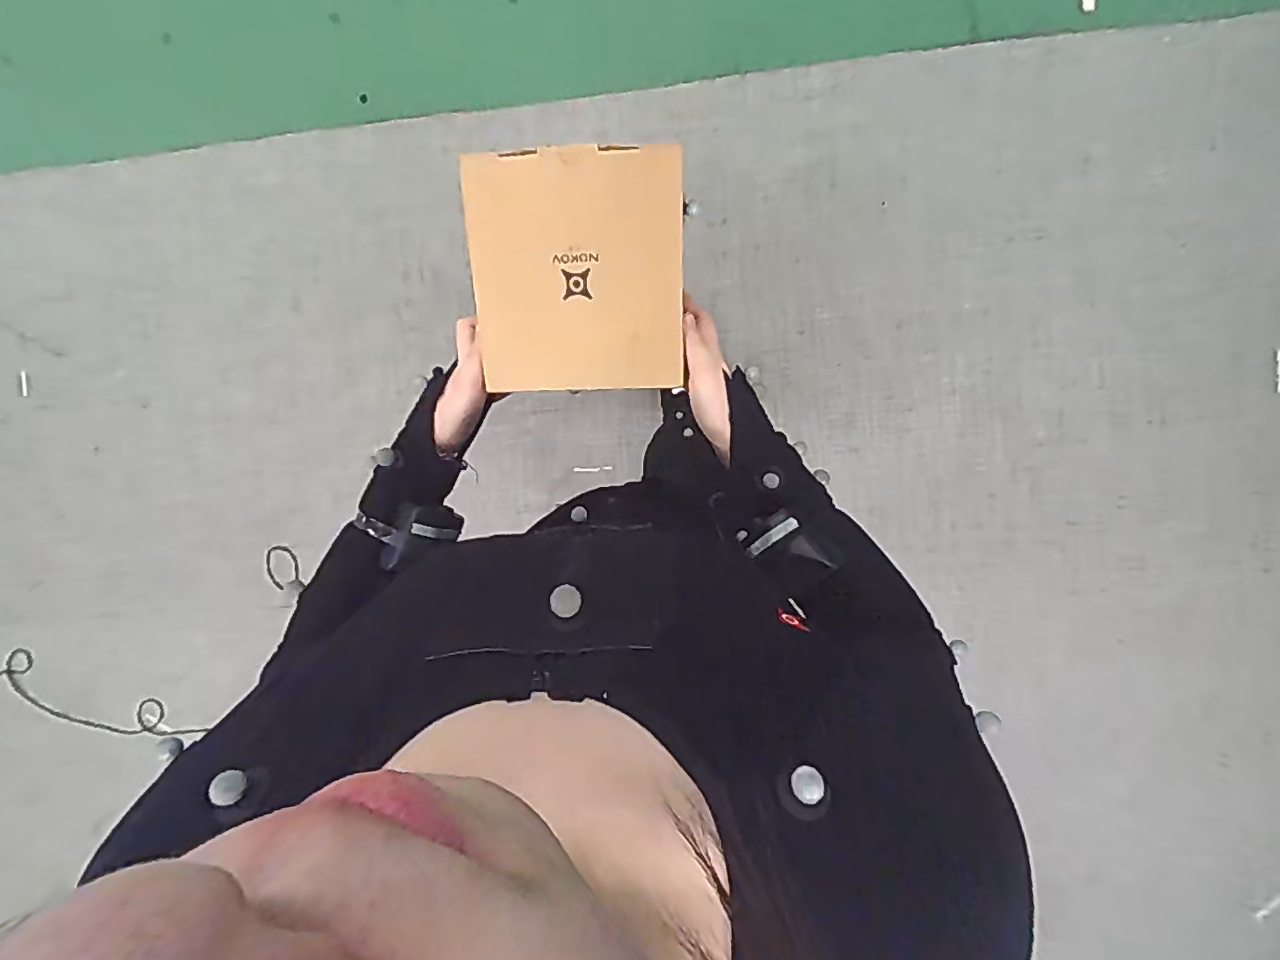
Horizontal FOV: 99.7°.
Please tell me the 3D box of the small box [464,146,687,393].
[{"bbox_3d":[-0.040,-0.181,0.492,0.168,0.176,0.179,-1,109,4],"label":"small box"}]
